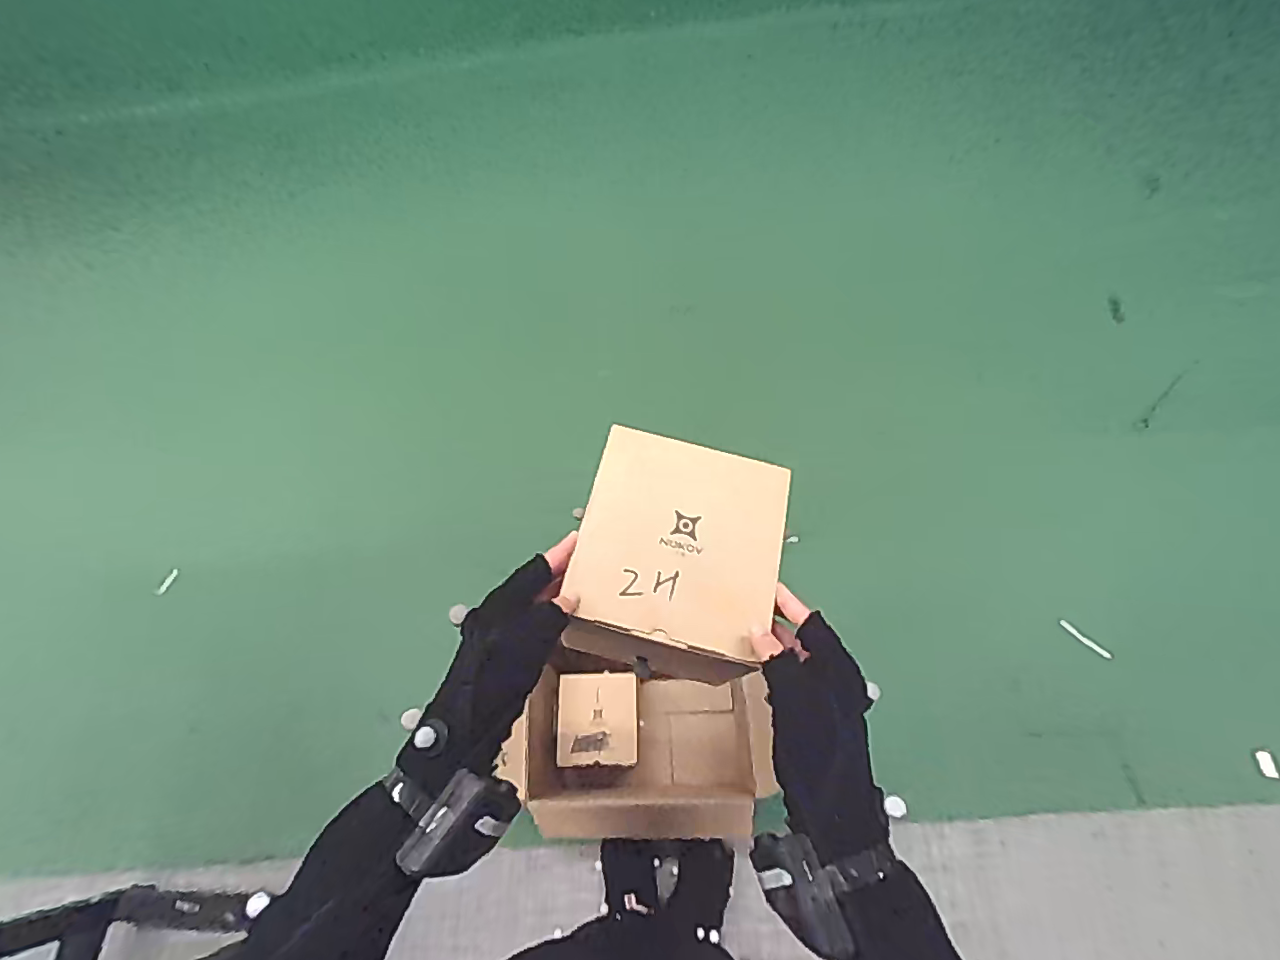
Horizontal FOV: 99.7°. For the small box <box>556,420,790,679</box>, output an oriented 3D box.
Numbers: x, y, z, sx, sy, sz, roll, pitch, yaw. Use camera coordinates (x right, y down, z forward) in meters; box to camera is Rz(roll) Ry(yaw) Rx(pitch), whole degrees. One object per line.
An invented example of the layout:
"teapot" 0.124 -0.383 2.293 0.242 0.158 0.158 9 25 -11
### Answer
"small box" 0.027 0.074 0.511 0.168 0.176 0.179 14 65 2
